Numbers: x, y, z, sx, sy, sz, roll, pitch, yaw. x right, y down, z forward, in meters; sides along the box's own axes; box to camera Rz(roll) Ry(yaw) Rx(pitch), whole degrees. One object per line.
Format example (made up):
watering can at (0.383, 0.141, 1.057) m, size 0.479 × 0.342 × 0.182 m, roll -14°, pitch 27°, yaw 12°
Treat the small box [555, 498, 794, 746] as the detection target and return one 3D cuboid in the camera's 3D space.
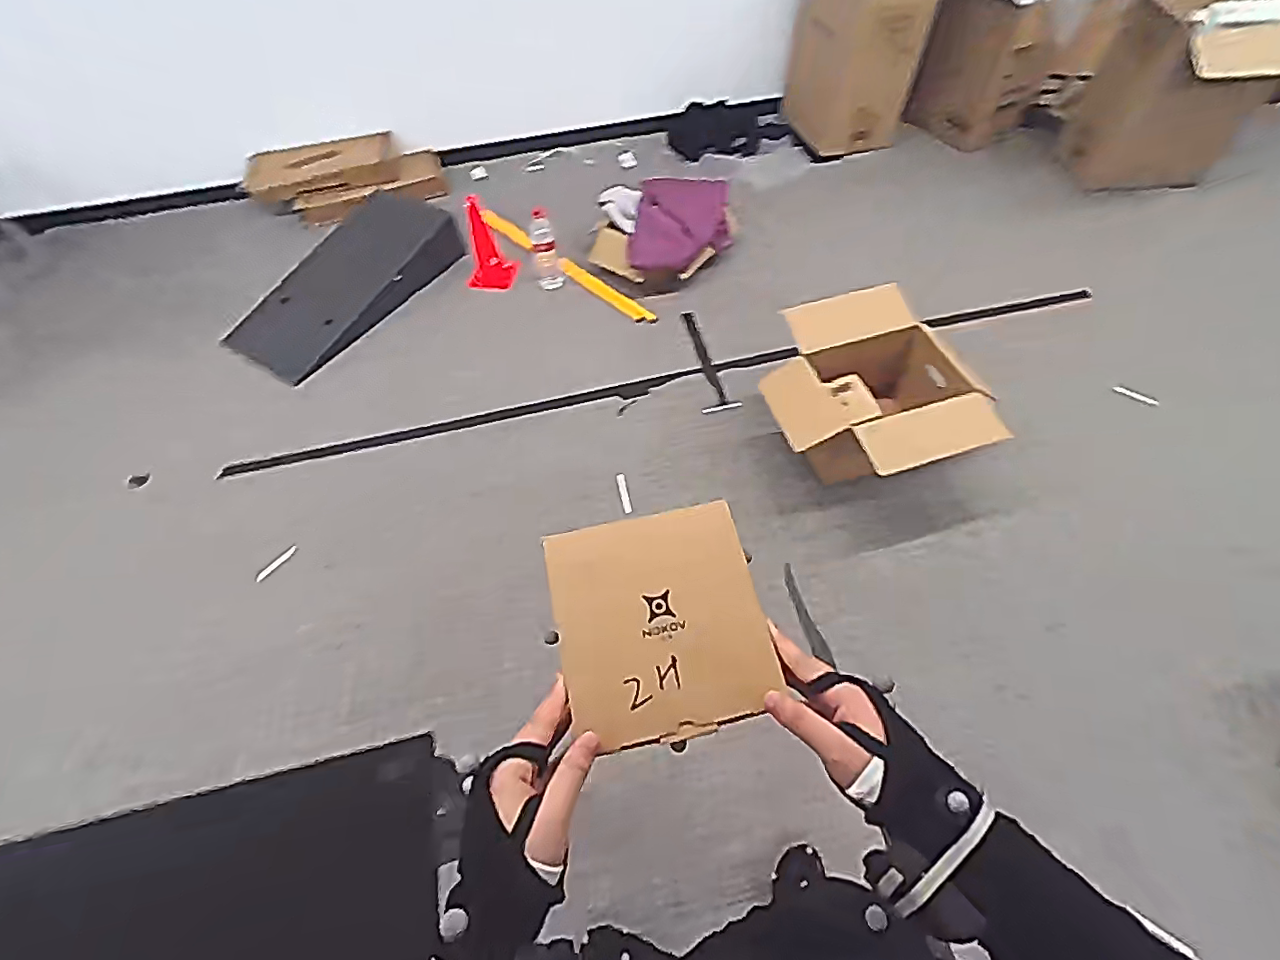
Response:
small box at (0.020, 0.140, 0.509) m, size 0.168 × 0.176 × 0.179 m, roll -11°, pitch 66°, yaw -6°
